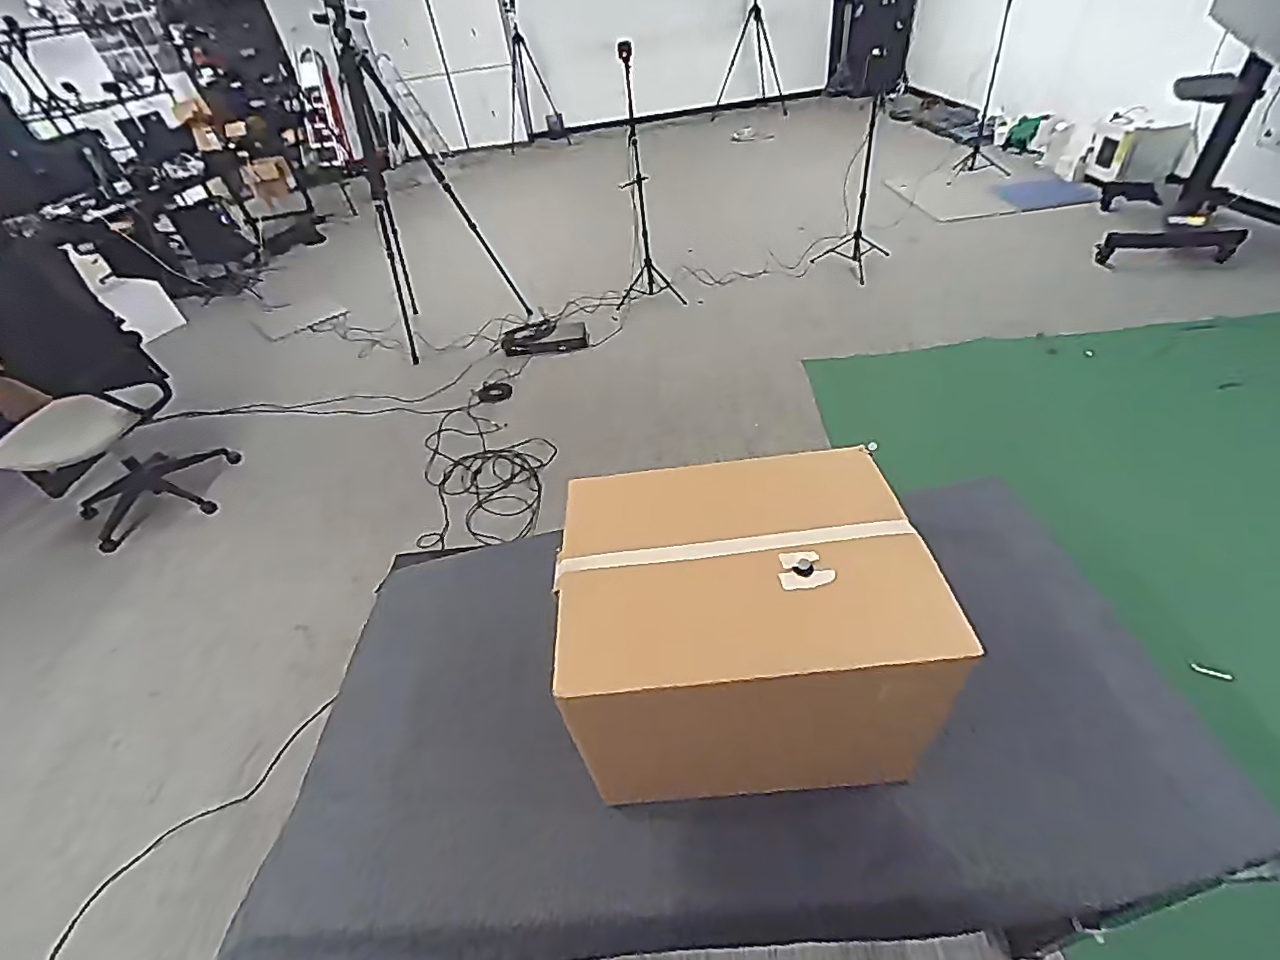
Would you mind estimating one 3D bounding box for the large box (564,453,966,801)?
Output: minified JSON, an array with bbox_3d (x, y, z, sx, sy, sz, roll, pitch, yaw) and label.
[{"bbox_3d":[0.126,0.197,0.732,0.408,0.320,0.320,-7,42,2],"label":"large box"}]
